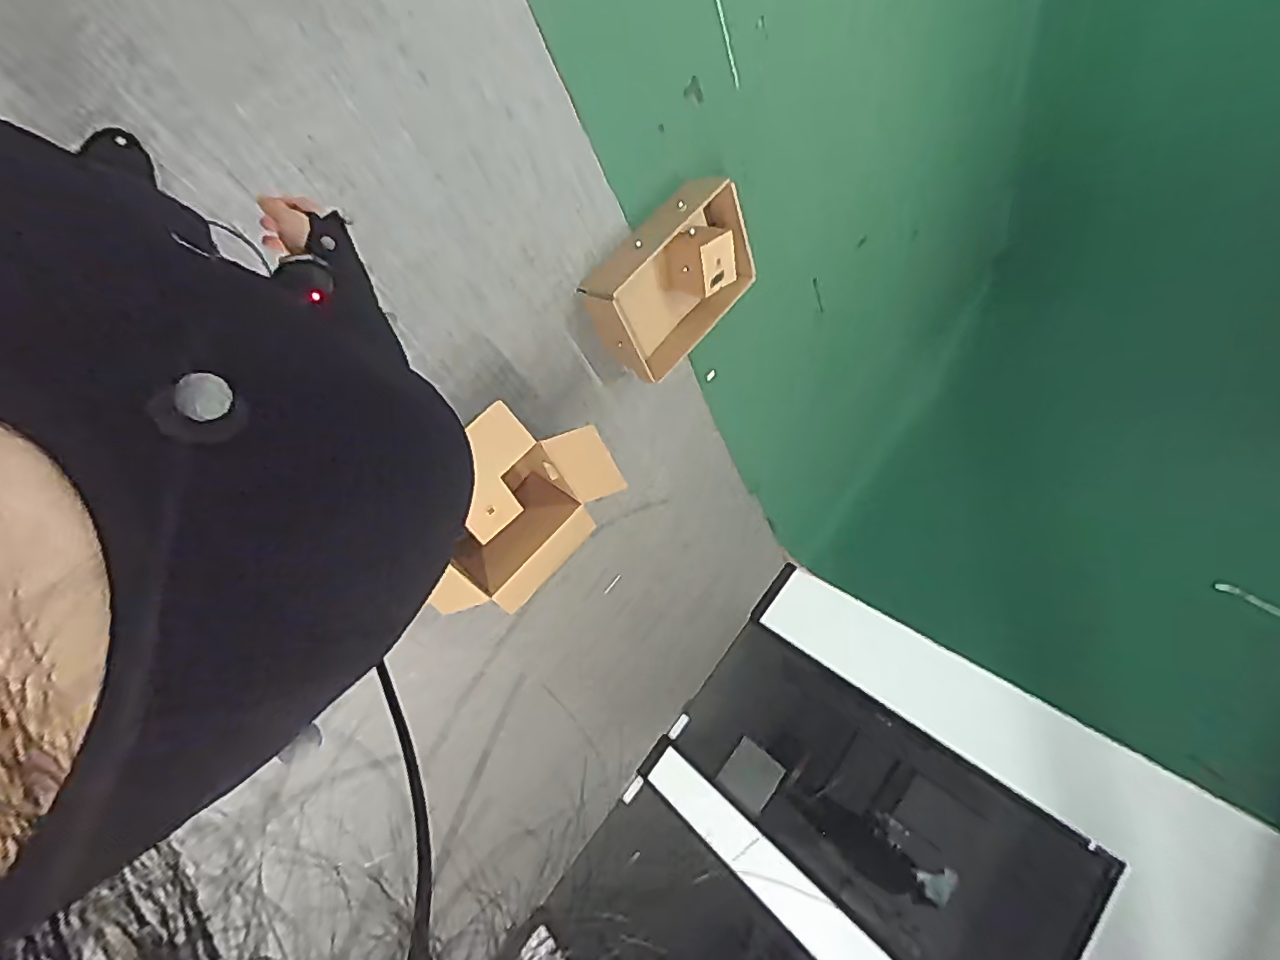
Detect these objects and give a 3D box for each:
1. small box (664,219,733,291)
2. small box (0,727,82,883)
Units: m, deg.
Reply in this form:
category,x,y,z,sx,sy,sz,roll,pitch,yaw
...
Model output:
category,x,y,z,sx,sy,sz,roll,pitch,yaw
small box,0.207,-0.794,1.897,0.168,0.176,0.179,-38,136,-24
small box,-1.108,0.560,0.907,0.179,0.176,0.168,-36,134,-30
